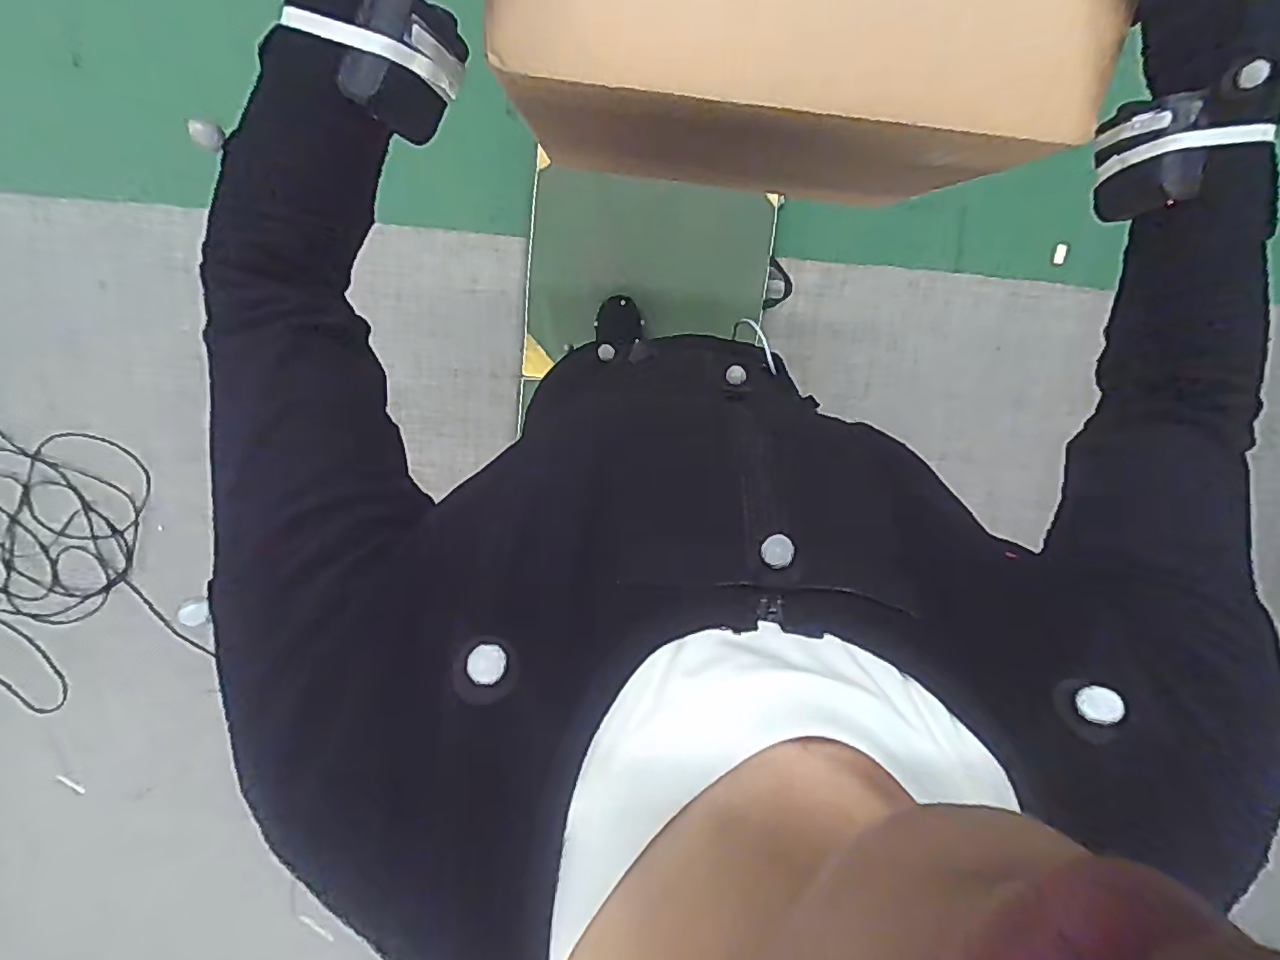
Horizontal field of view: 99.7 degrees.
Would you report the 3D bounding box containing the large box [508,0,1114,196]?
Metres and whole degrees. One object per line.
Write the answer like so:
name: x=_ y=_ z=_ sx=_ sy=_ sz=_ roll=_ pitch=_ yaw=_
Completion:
large box: x=0.114 y=-0.451 z=0.458 sx=0.408 sy=0.320 sz=0.320 roll=4 pitch=111 yaw=-4
